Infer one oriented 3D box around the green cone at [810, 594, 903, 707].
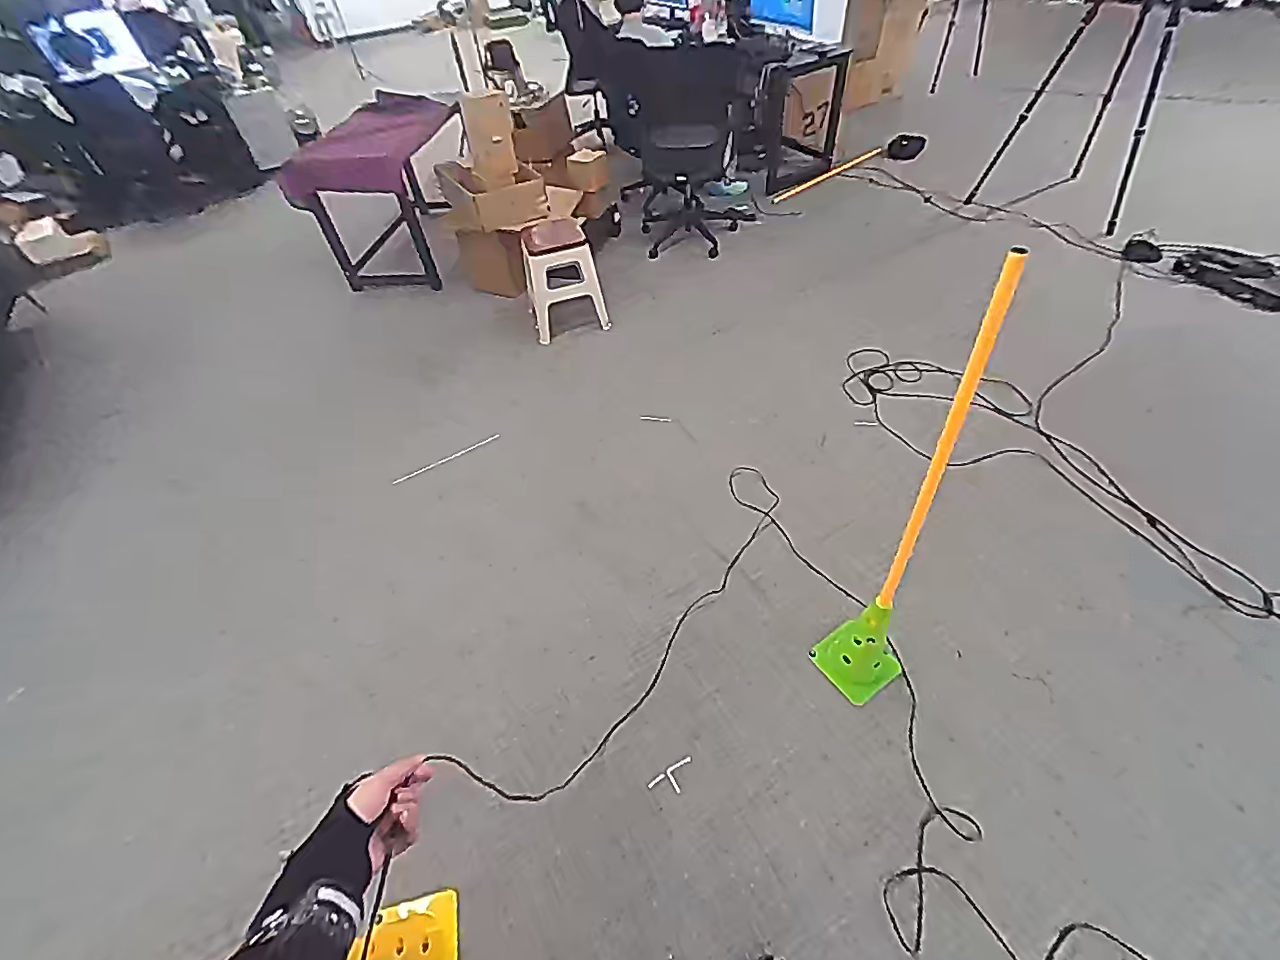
[{"bbox_3d":[0.623,0.421,1.458,0.202,0.368,0.200,-29,52,-20],"label":"green cone"}]
